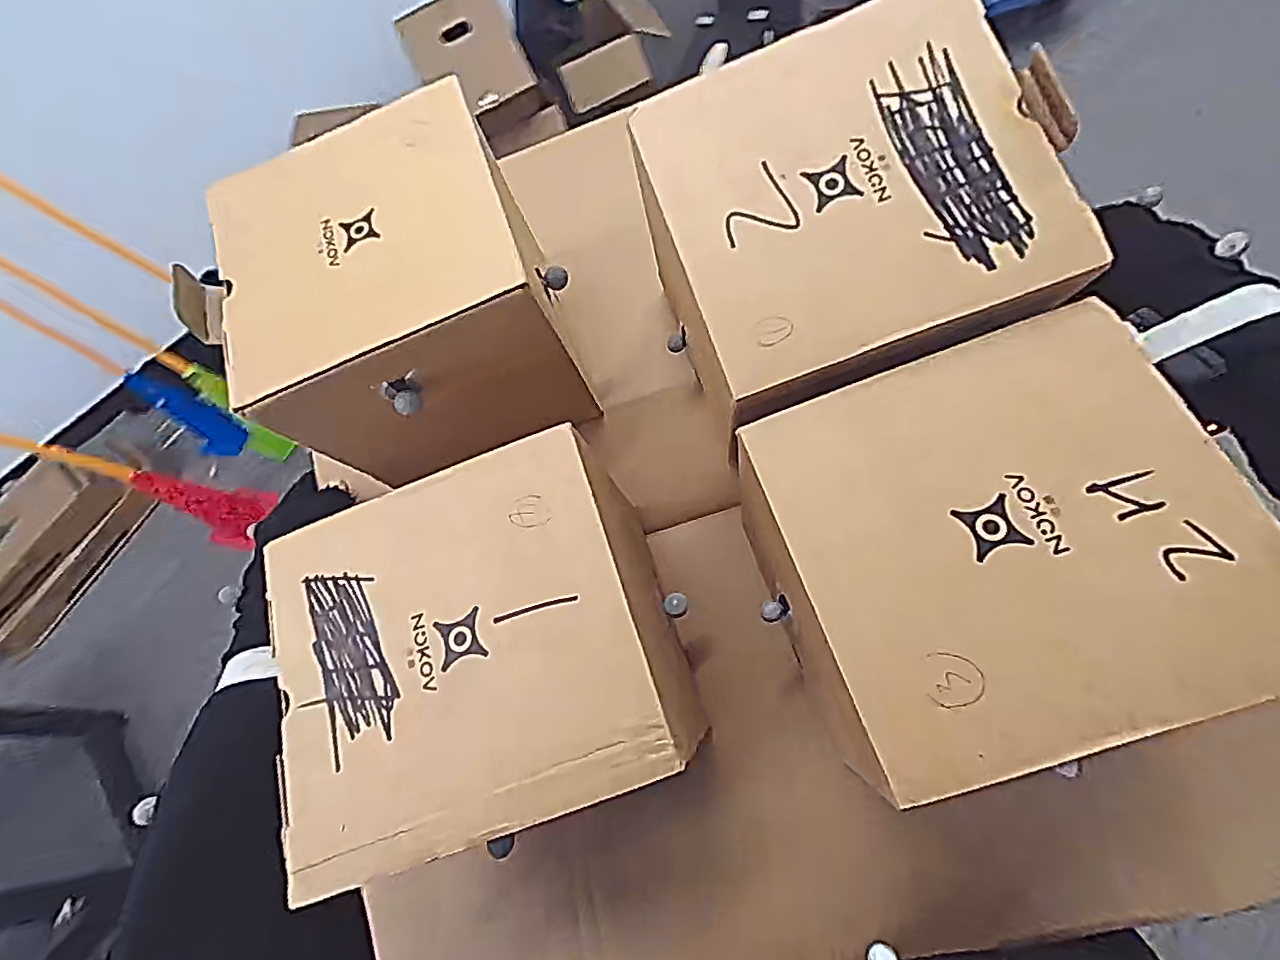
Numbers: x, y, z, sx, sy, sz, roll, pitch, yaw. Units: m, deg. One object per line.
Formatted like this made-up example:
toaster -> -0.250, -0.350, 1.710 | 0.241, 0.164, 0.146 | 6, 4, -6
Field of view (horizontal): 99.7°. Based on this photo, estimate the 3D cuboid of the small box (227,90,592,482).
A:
small box -> -0.145, -0.118, 0.392 | 0.179, 0.176, 0.168 | -22, 70, 5
